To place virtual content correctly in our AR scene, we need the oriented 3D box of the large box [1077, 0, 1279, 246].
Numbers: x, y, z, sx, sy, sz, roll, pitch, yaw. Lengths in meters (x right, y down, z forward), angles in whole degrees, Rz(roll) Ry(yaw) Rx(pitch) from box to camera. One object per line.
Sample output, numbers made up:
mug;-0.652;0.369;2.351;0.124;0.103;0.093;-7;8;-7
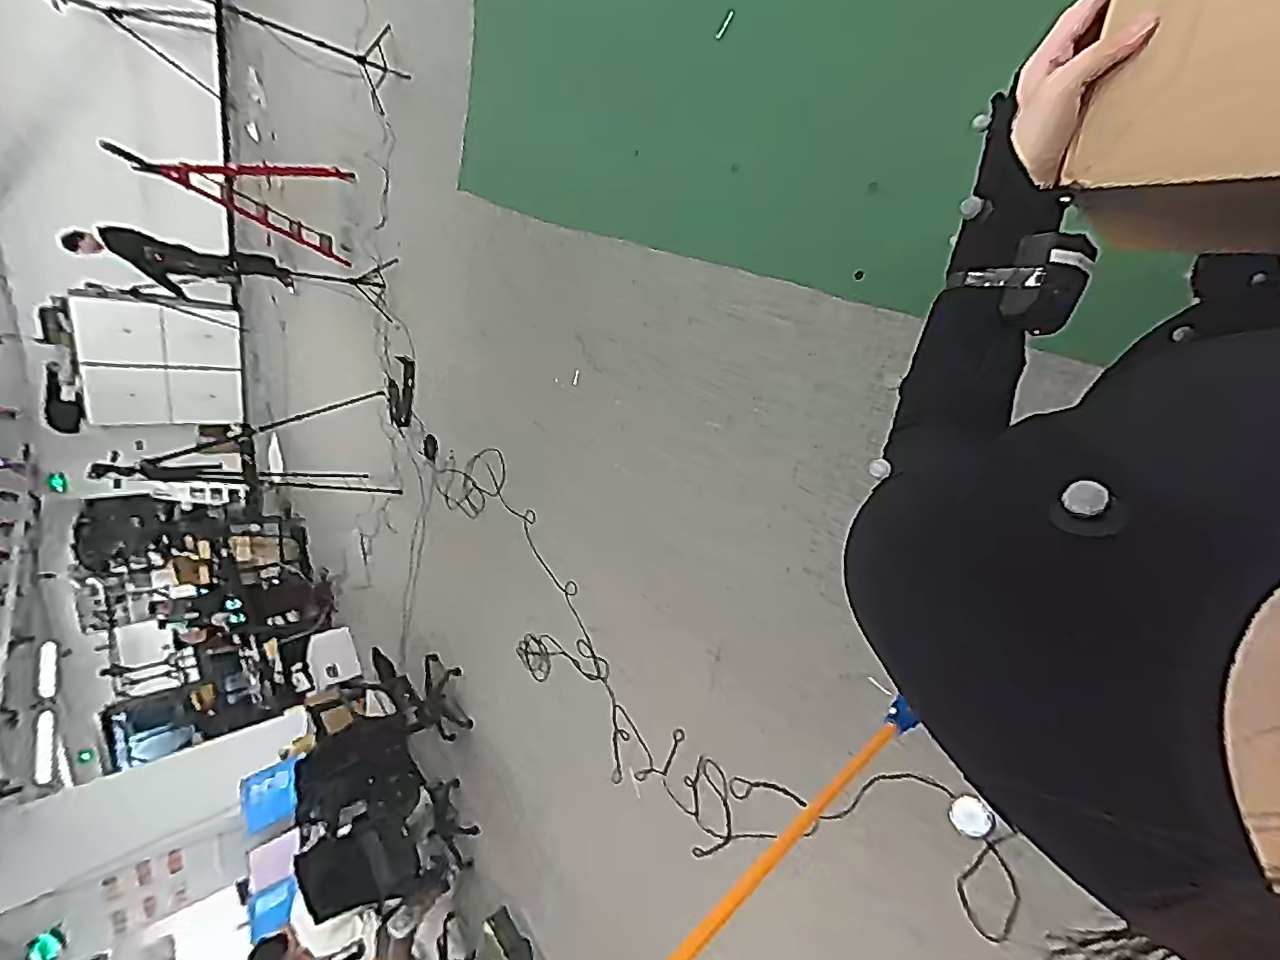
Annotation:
large box;0.572;-0.338;0.329;0.408;0.320;0.320;21;113;40
